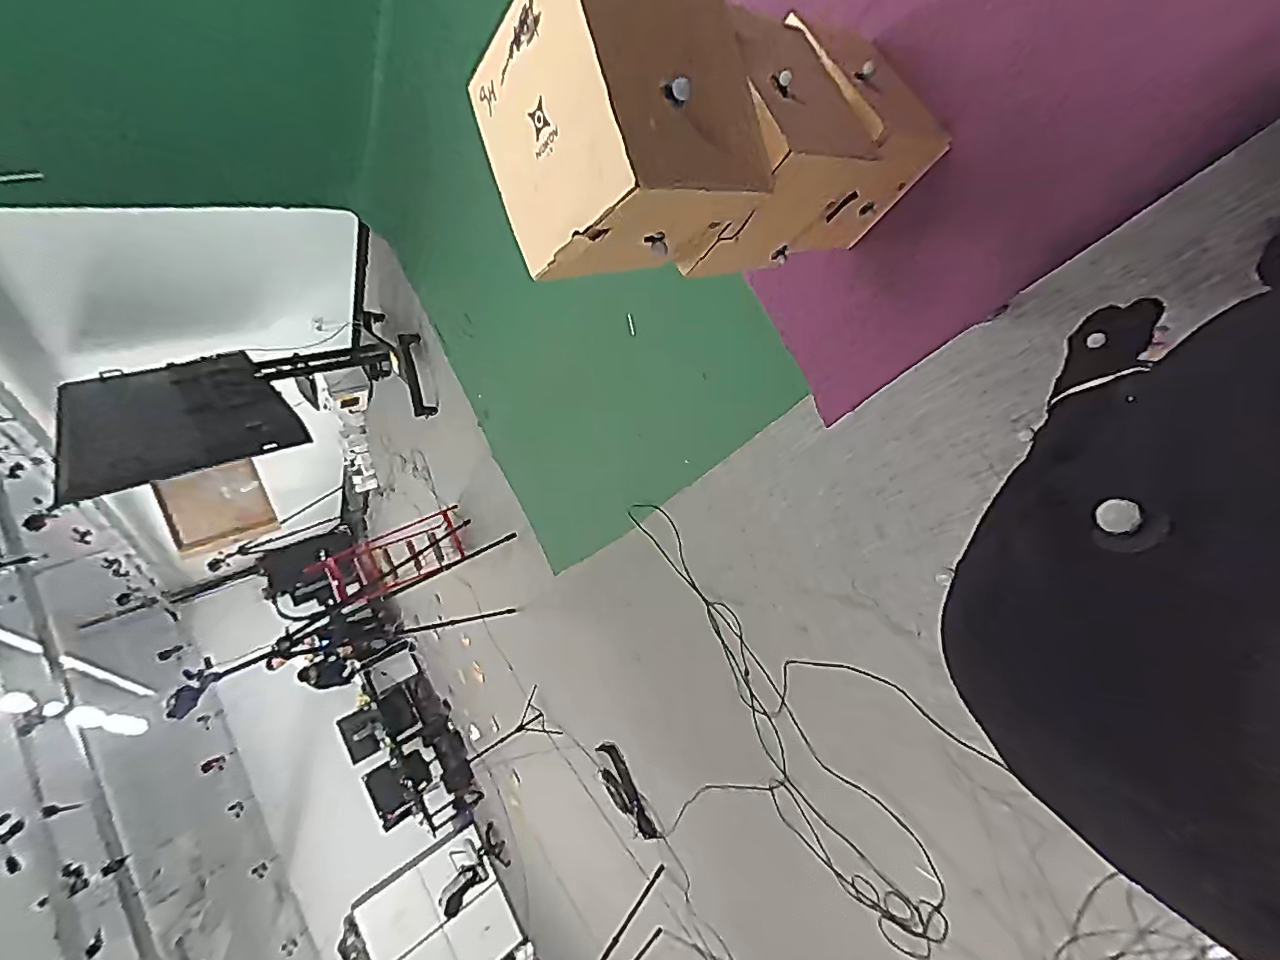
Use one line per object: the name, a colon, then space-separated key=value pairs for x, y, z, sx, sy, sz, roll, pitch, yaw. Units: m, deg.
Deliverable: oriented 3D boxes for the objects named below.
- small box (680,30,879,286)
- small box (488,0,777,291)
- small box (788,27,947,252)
small box: x=0.120 y=-0.340 z=0.584 sx=0.168 sy=0.176 sz=0.179 roll=-36 pitch=78 yaw=52
small box: x=-0.003 y=-0.293 z=0.486 sx=0.168 sy=0.176 sz=0.179 roll=-8 pitch=103 yaw=51
small box: x=0.238 y=-0.407 z=0.678 sx=0.179 sy=0.176 sz=0.168 roll=59 pitch=142 yaw=10
